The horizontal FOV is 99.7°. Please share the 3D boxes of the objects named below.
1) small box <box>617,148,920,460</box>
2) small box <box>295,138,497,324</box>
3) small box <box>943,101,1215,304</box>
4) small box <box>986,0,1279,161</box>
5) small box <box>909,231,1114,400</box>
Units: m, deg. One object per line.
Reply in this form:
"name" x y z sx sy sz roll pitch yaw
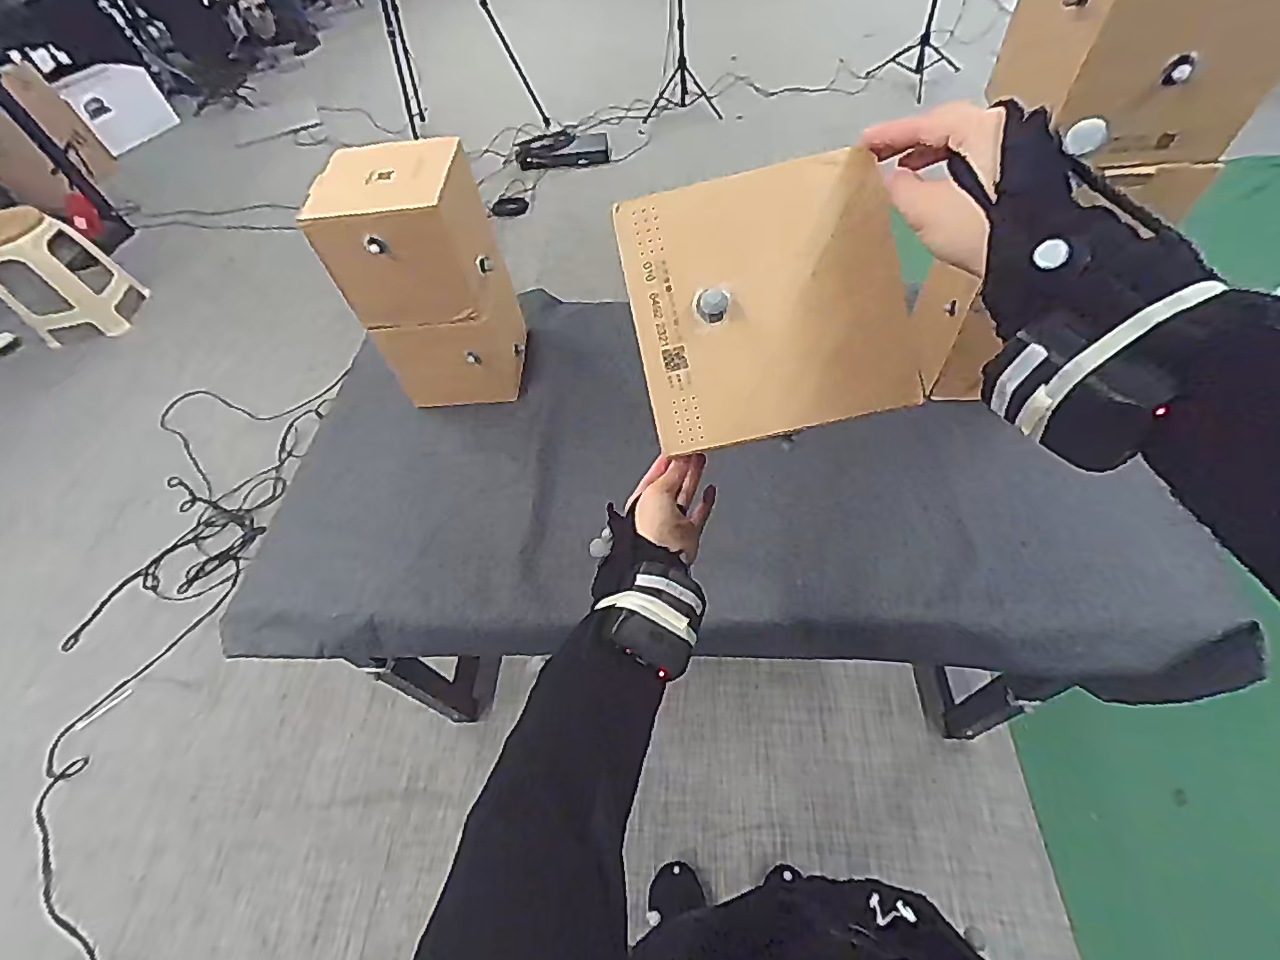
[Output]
"small box" 0.082 -0.113 0.419 0.176 0.179 0.168 -12 92 5
"small box" -0.312 -0.330 0.735 0.179 0.176 0.168 -3 57 3
"small box" 0.483 -0.324 0.633 0.168 0.176 0.179 2 57 8
"small box" 0.458 -0.416 0.498 0.168 0.176 0.179 0 56 7
"small box" 0.503 -0.236 0.770 0.168 0.176 0.179 1 57 8
